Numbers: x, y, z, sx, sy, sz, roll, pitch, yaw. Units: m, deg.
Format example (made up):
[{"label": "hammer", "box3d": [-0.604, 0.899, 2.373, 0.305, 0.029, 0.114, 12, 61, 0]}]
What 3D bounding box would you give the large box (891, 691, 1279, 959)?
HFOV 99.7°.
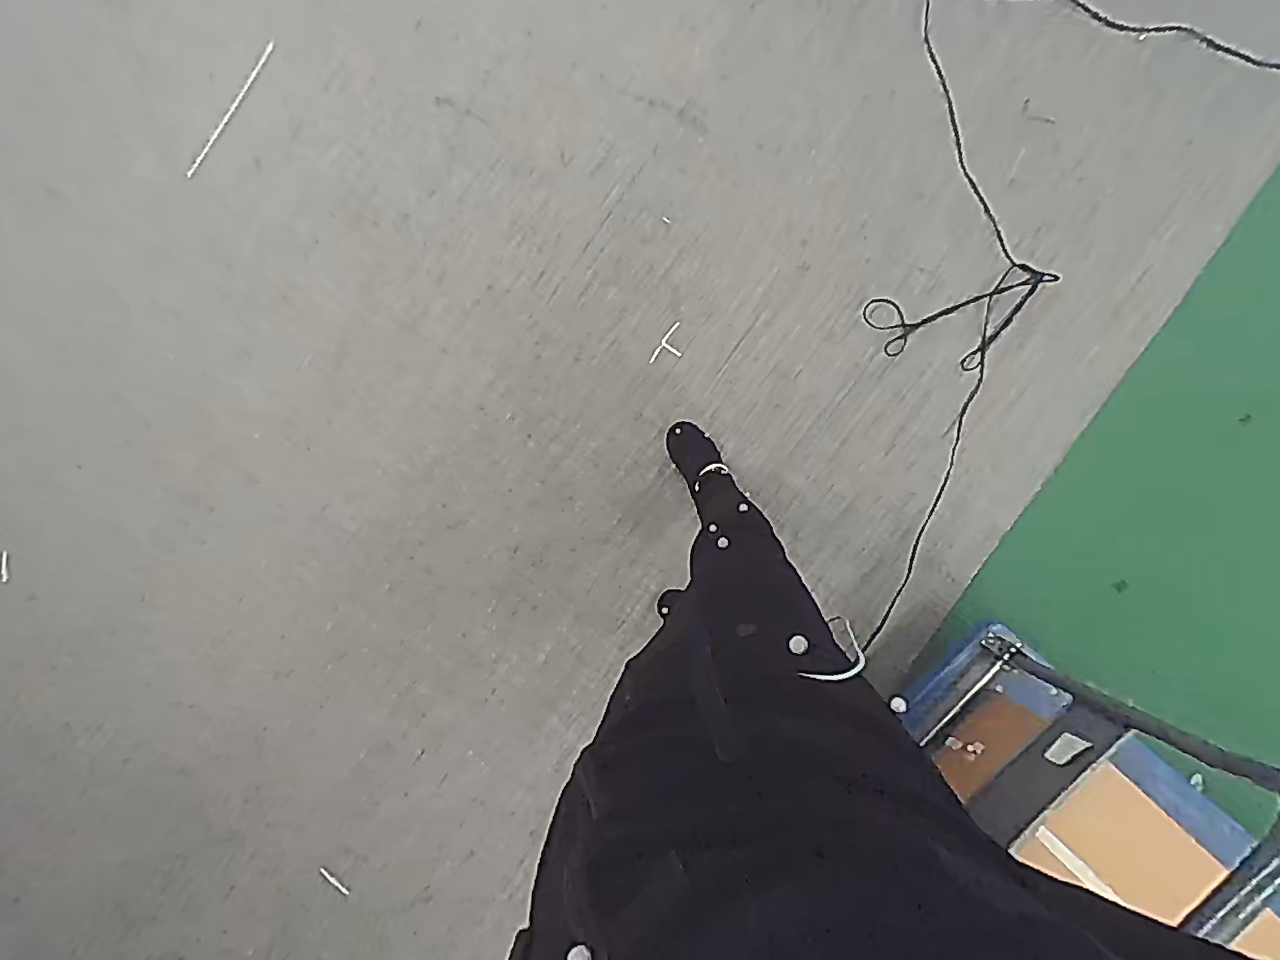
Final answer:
[{"label": "large box", "box3d": [0.778, 0.689, 1.018, 0.408, 0.320, 0.320, 44, 93, 5]}]
